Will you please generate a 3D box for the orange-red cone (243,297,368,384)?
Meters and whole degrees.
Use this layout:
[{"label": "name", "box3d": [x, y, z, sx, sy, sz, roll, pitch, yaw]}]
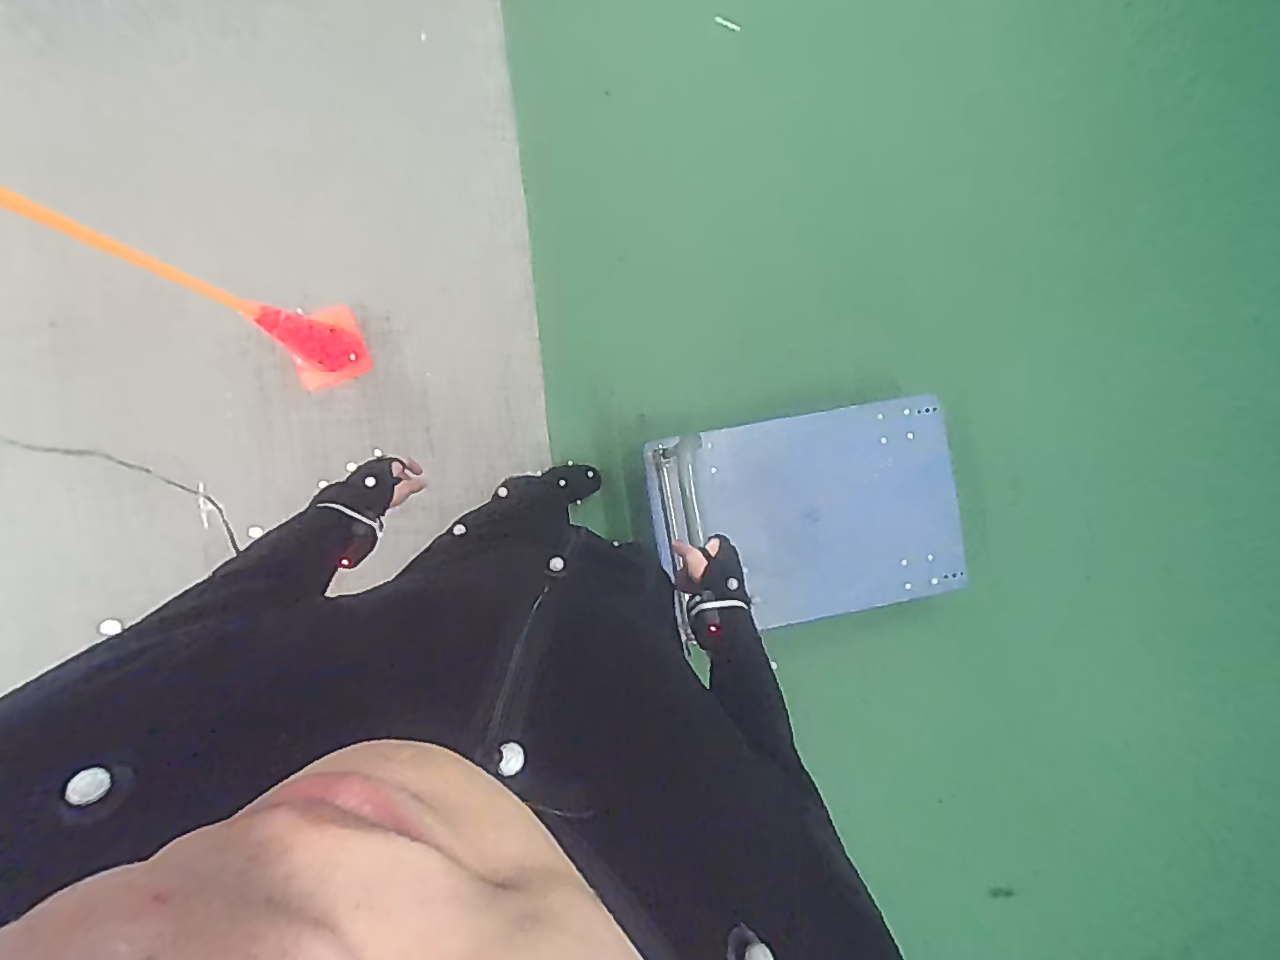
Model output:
[{"label": "orange-red cone", "box3d": [-0.887, -0.392, 1.381, 0.198, 0.360, 0.199, -20, 91, -5]}]
